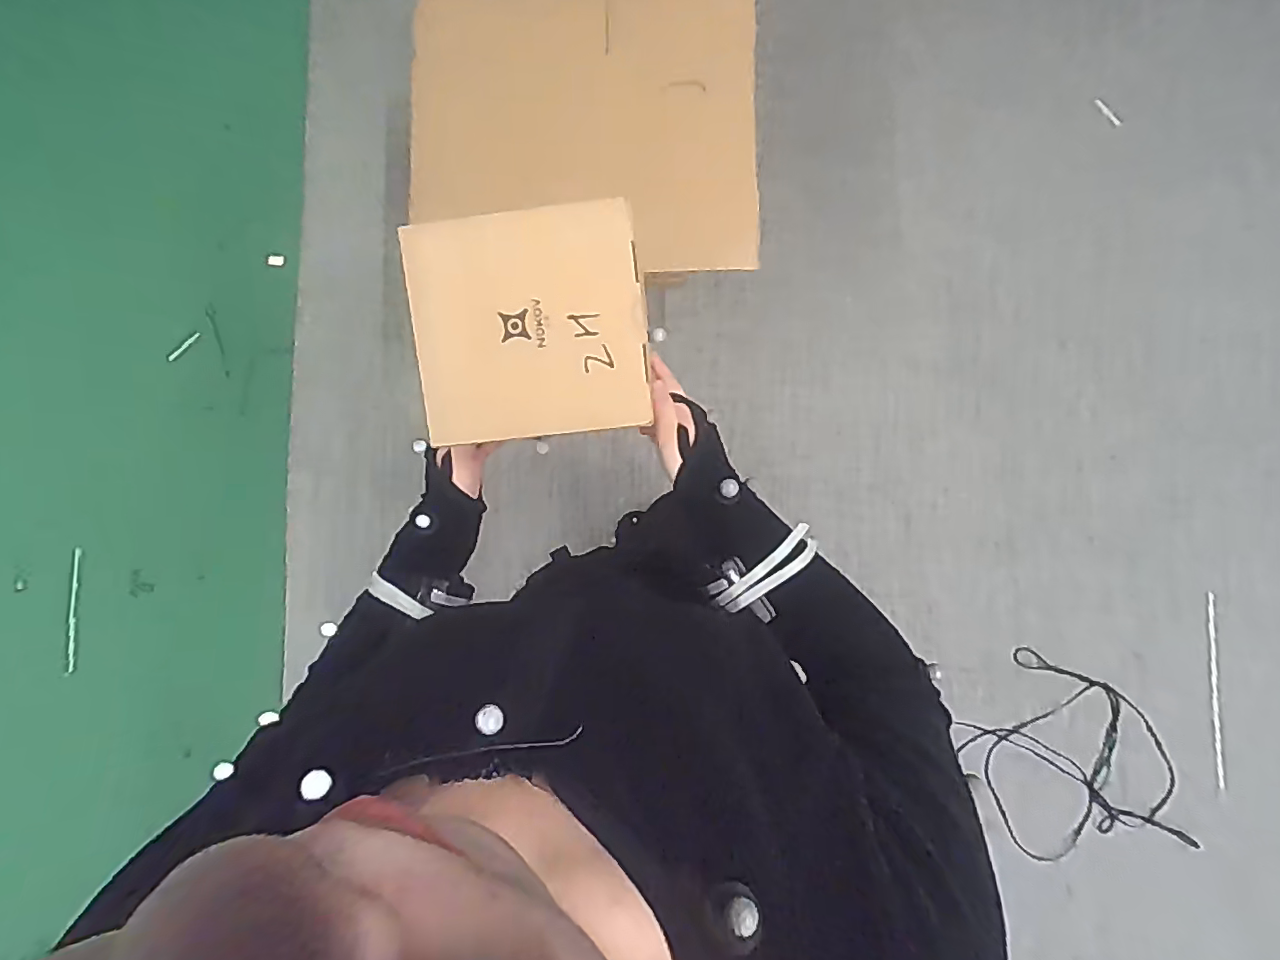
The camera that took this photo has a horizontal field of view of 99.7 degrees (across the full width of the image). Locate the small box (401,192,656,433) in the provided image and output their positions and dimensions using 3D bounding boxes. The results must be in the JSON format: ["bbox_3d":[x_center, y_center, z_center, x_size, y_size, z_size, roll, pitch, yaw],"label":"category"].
[{"bbox_3d":[-0.081,-0.131,0.483,0.179,0.176,0.168,-4,98,4],"label":"small box"}]
